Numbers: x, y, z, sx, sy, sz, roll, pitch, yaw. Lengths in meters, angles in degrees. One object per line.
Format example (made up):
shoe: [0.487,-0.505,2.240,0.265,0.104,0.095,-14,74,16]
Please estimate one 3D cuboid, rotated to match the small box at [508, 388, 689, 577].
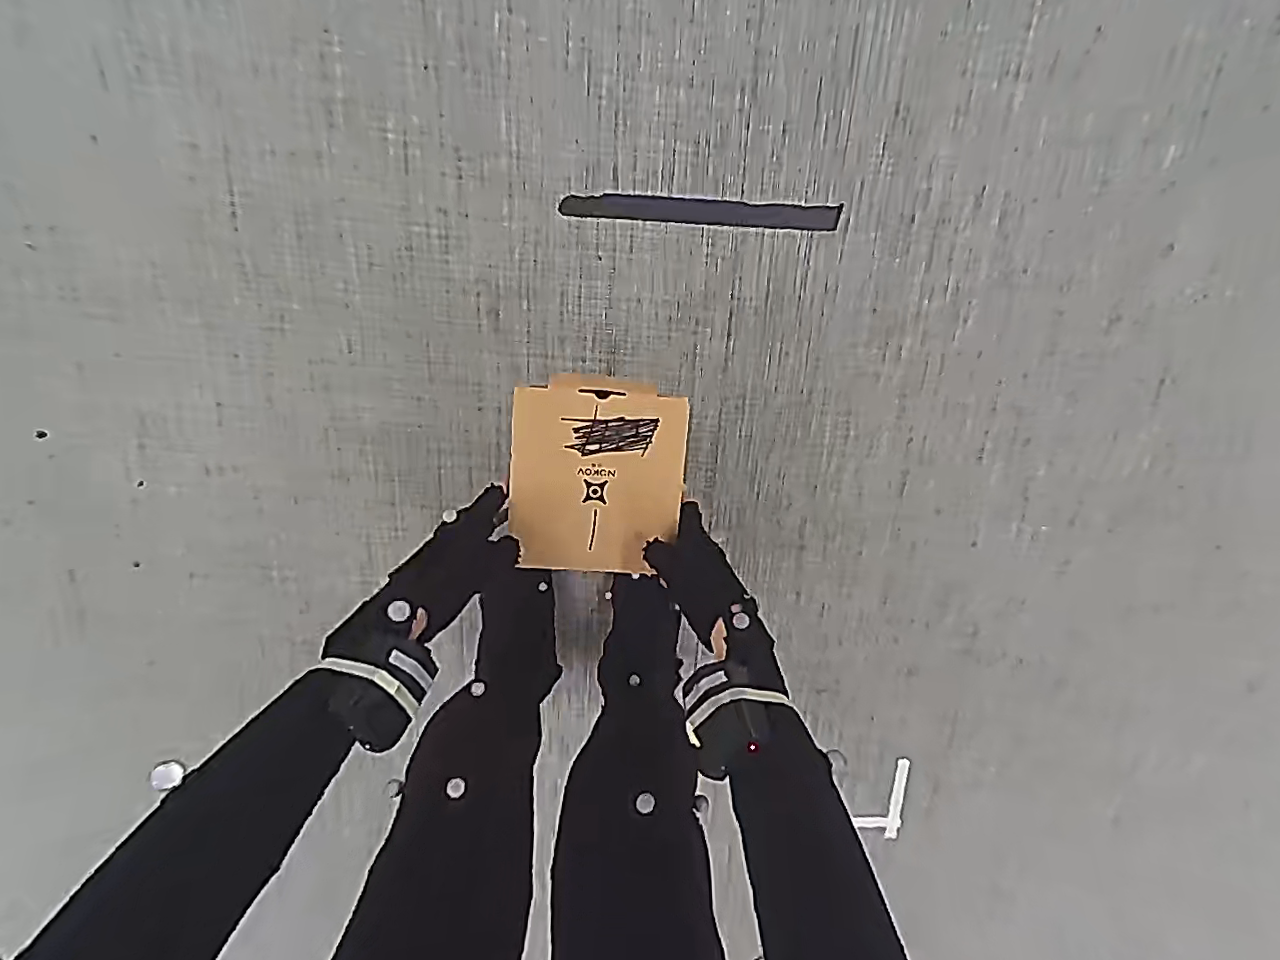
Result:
small box: [-0.046,-0.005,0.598,0.168,0.176,0.179,4,98,-4]
